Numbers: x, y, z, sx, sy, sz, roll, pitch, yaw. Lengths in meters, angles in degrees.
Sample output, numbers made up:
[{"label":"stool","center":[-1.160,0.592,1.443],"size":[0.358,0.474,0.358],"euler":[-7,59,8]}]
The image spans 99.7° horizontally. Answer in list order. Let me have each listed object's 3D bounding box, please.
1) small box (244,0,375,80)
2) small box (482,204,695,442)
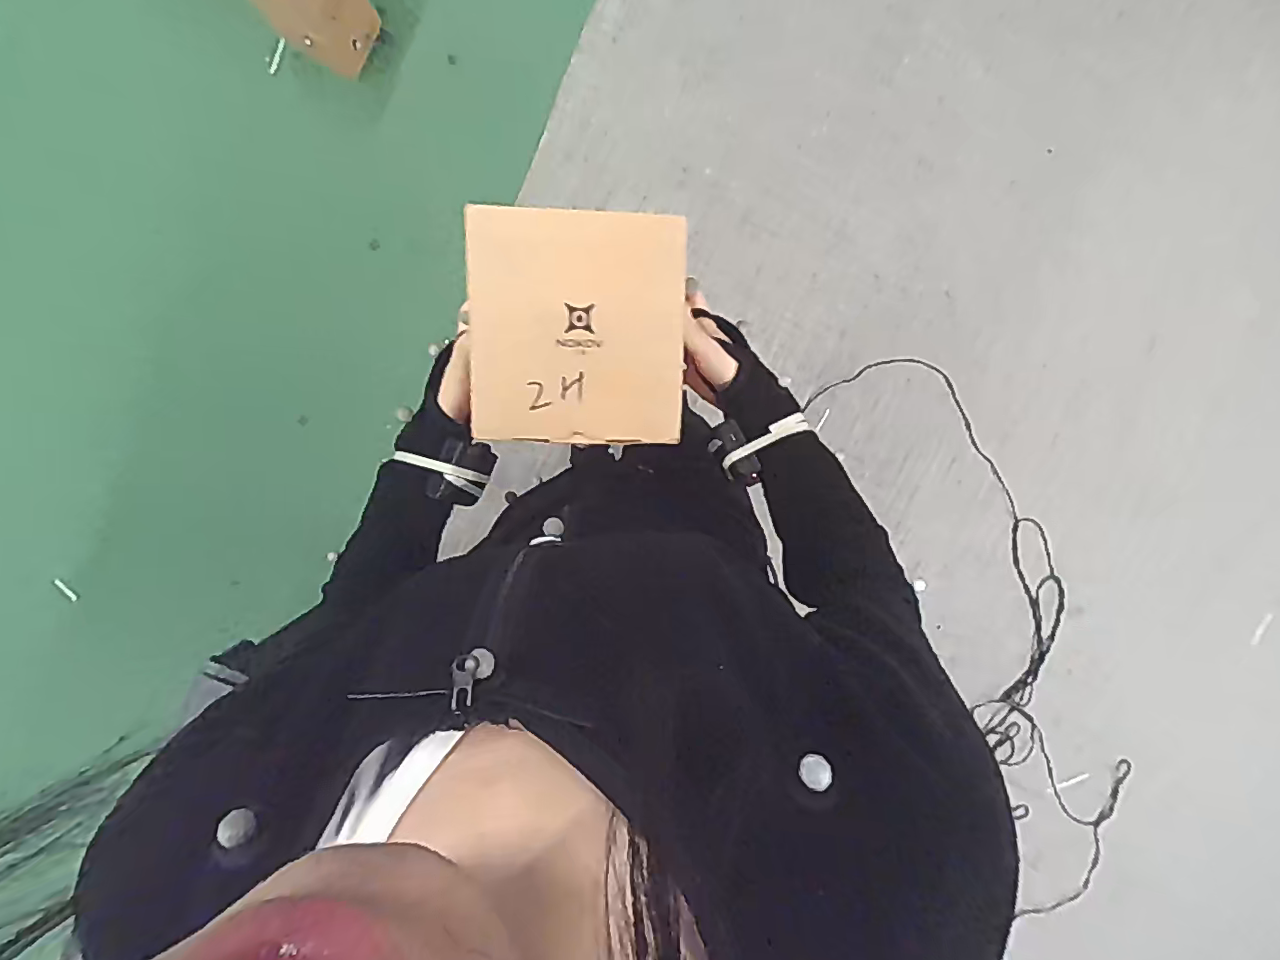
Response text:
[{"label":"small box","center":[-0.755,-1.081,1.248],"size":[0.179,0.176,0.168],"euler":[27,95,-6]},{"label":"small box","center":[-0.049,-0.131,0.501],"size":[0.168,0.176,0.179],"euler":[1,100,-5]}]
